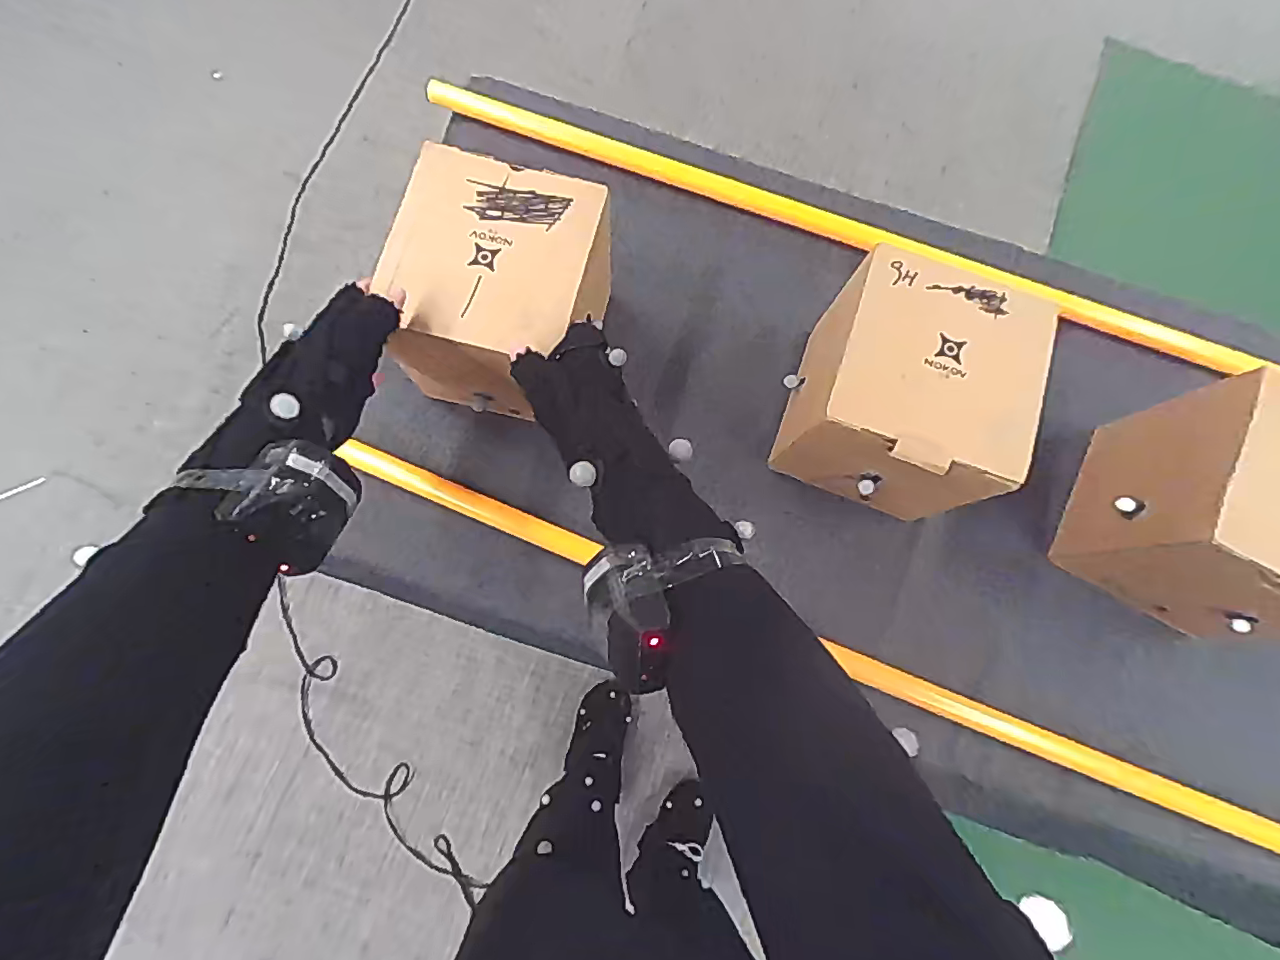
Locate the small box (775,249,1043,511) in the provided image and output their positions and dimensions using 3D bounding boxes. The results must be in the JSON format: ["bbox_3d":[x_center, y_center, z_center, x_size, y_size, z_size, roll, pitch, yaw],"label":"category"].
[{"bbox_3d":[0.243,-0.082,0.528,0.168,0.176,0.179,17,76,3],"label":"small box"}]

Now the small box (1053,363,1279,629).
[{"bbox_3d":[0.545,0.029,0.513,0.168,0.176,0.179,29,75,3],"label":"small box"}]

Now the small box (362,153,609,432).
[{"bbox_3d":[-0.130,-0.168,0.528,0.168,0.176,0.179,13,77,1],"label":"small box"}]
